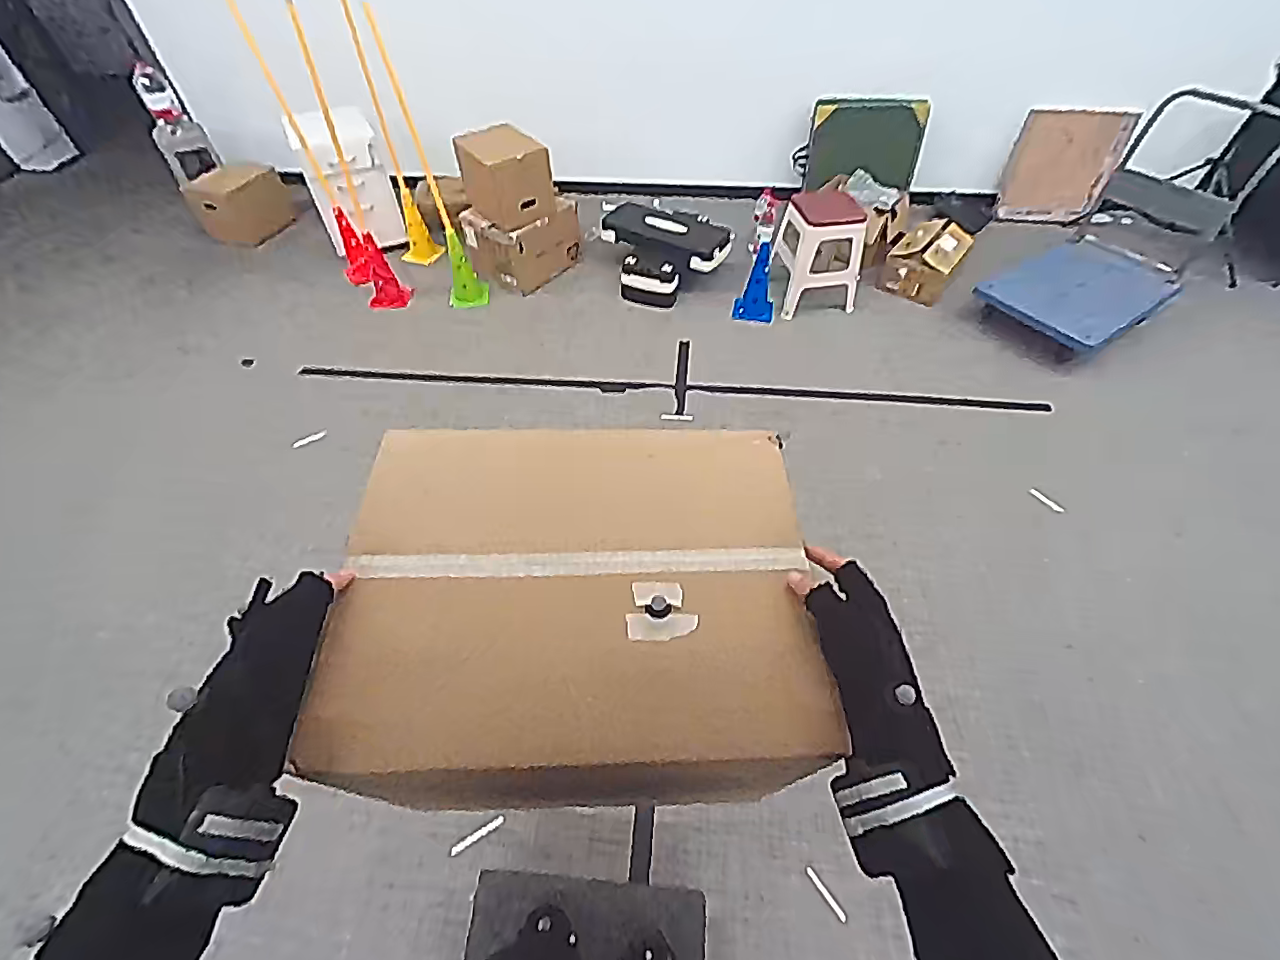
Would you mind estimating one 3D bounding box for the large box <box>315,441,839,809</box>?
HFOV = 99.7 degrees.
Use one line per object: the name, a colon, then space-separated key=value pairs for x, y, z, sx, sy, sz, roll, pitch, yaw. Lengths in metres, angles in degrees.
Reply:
large box: x=-0.056 y=0.169 z=0.612 sx=0.408 sy=0.320 sz=0.320 roll=0 pitch=54 yaw=-3
